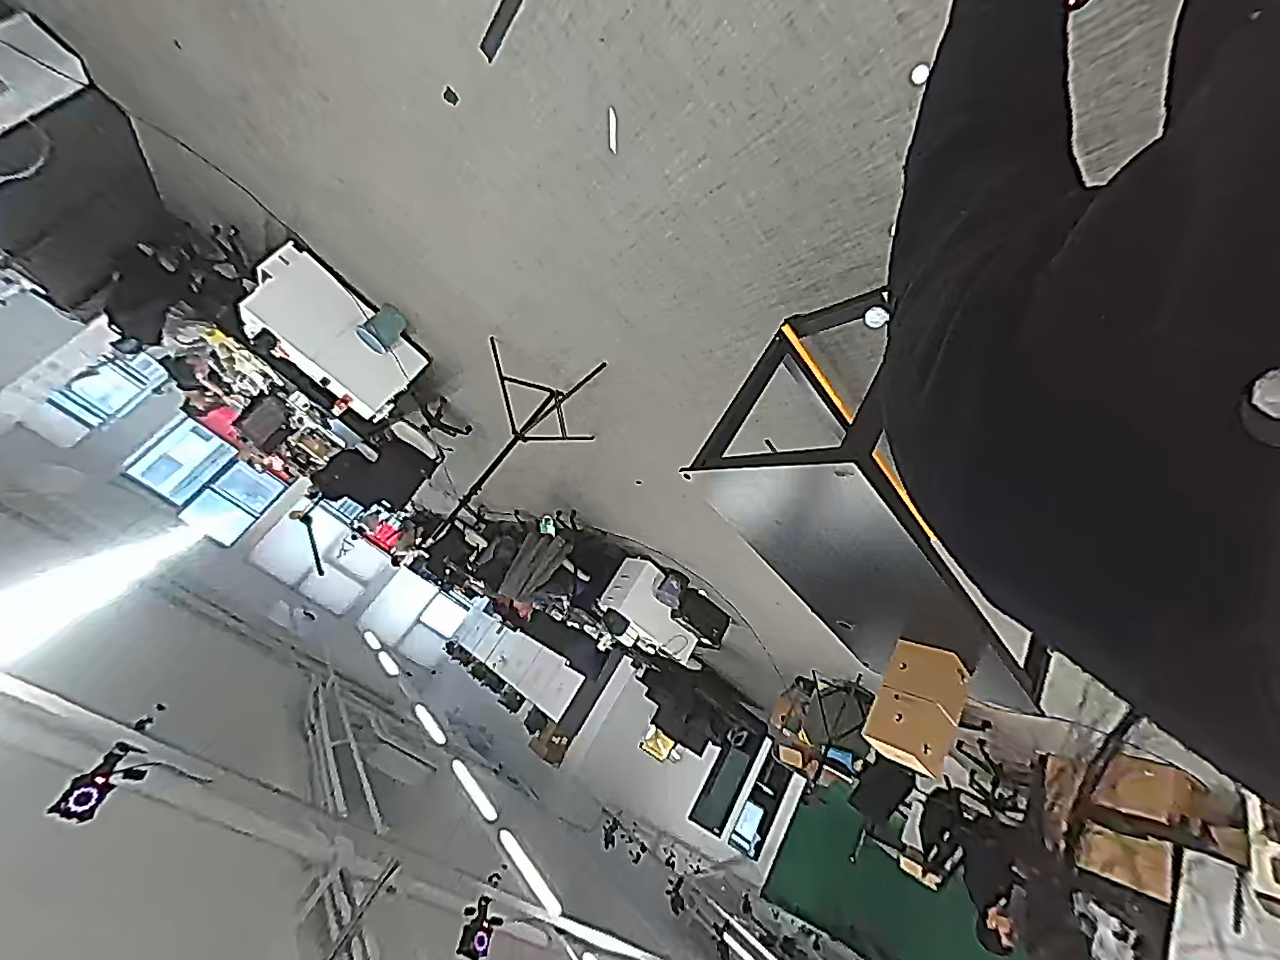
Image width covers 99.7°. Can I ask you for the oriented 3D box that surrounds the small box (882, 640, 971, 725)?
[{"bbox_3d":[0.900,0.625,1.691,0.168,0.176,0.179,45,155,-28],"label":"small box"}]

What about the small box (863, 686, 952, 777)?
[{"bbox_3d":[0.813,0.756,1.639,0.179,0.176,0.168,45,157,-28],"label":"small box"}]
